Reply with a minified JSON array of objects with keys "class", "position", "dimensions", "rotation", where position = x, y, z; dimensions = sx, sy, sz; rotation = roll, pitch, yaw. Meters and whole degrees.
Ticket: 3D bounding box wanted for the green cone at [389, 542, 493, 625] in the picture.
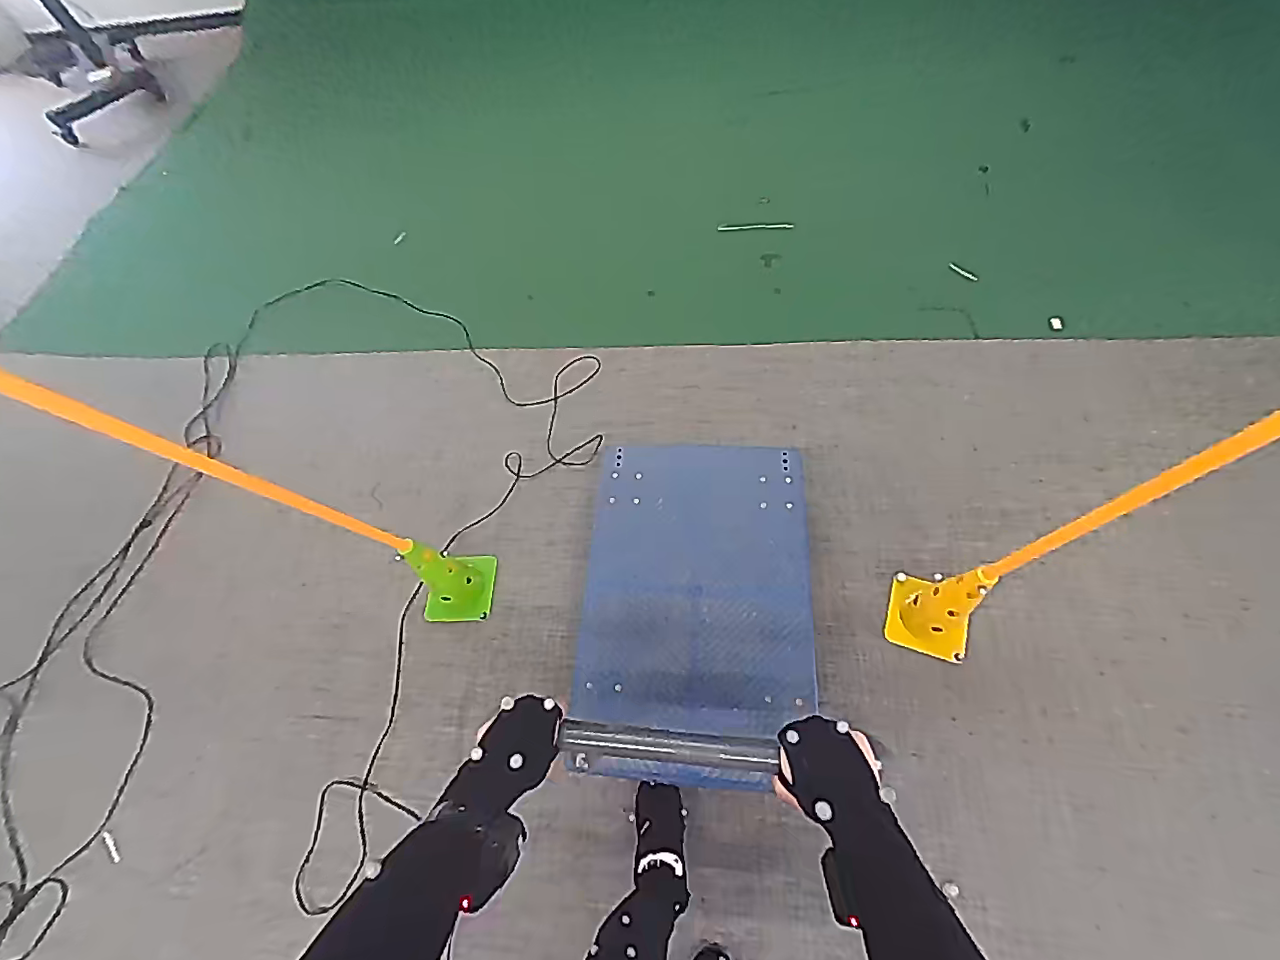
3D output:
[{"class":"green cone","position":[-0.567,0.251,1.473],"dimensions":[0.202,0.368,0.200],"rotation":[-3,61,7]}]
